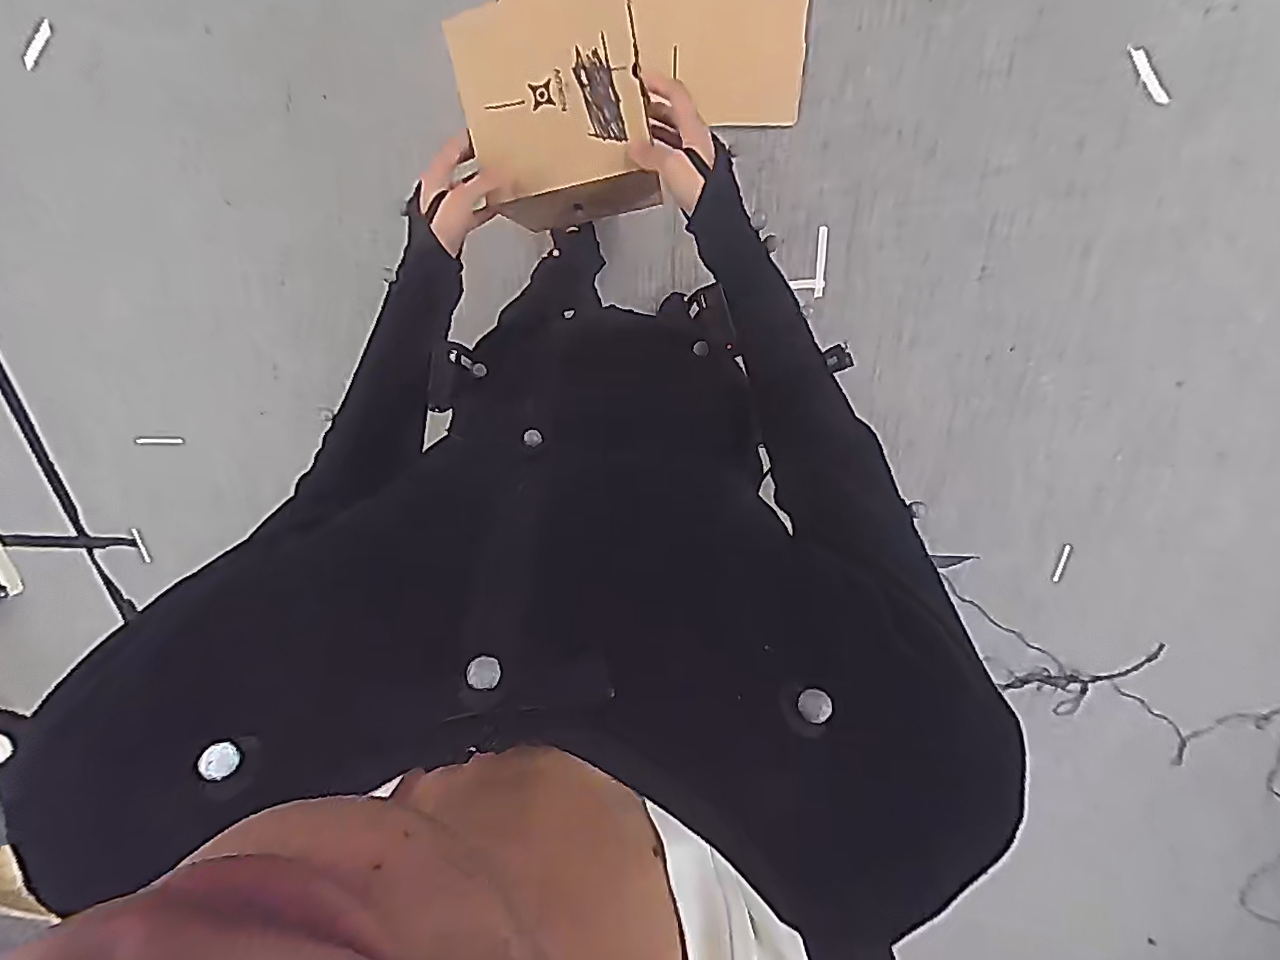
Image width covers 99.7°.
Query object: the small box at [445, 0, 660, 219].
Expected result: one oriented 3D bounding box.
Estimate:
[{"bbox_3d":[-0.075,-0.397,0.584,0.179,0.176,0.168,-8,105,9],"label":"small box"}]
